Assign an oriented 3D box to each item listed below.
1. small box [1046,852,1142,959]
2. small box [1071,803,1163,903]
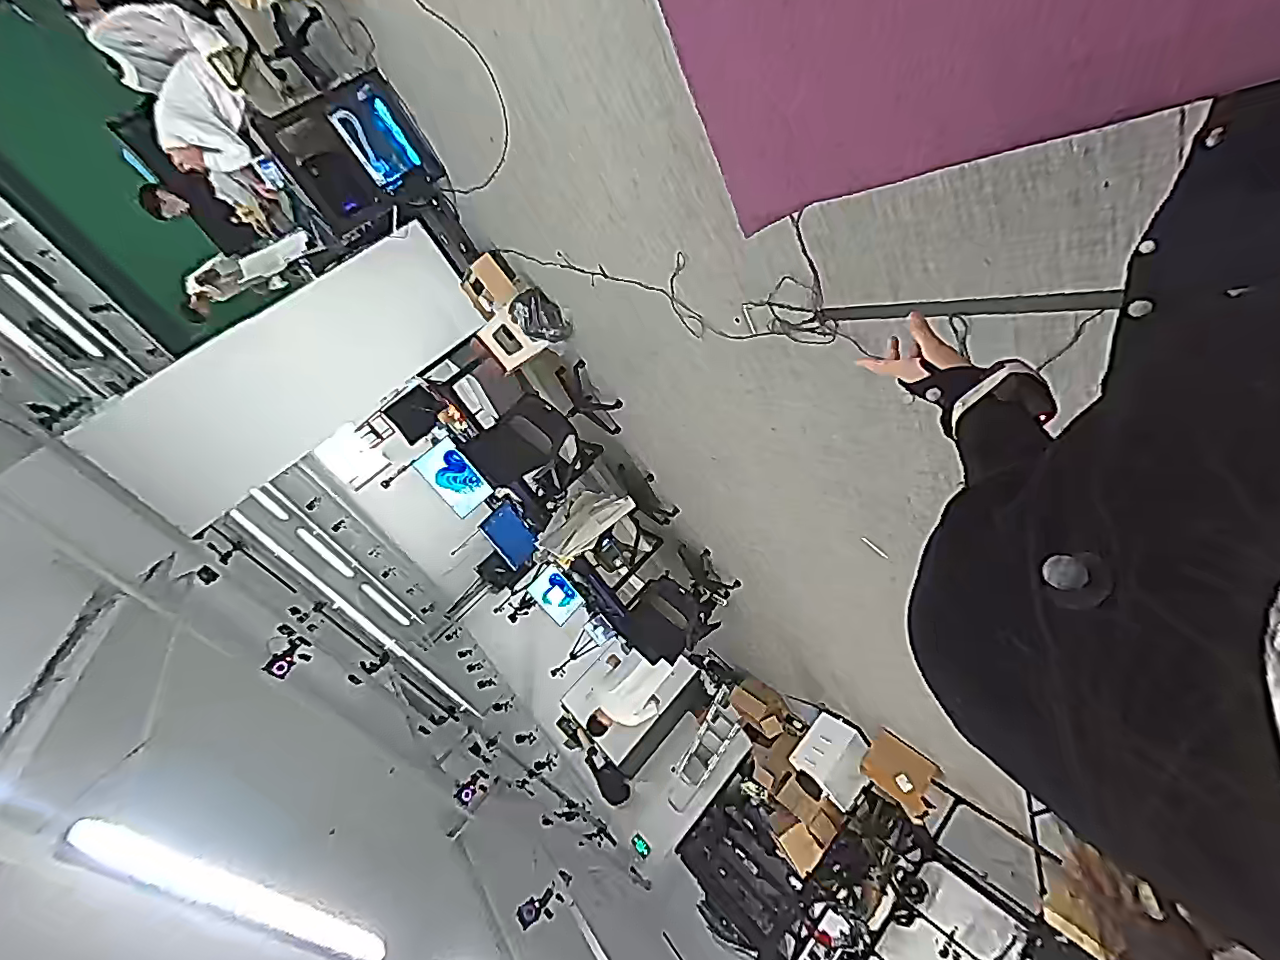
[{"bbox_3d":[1.283,1.204,1.531,0.168,0.176,0.179,22,153,52],"label":"small box"},{"bbox_3d":[1.390,1.091,1.580,0.168,0.176,0.179,21,150,51],"label":"small box"}]
